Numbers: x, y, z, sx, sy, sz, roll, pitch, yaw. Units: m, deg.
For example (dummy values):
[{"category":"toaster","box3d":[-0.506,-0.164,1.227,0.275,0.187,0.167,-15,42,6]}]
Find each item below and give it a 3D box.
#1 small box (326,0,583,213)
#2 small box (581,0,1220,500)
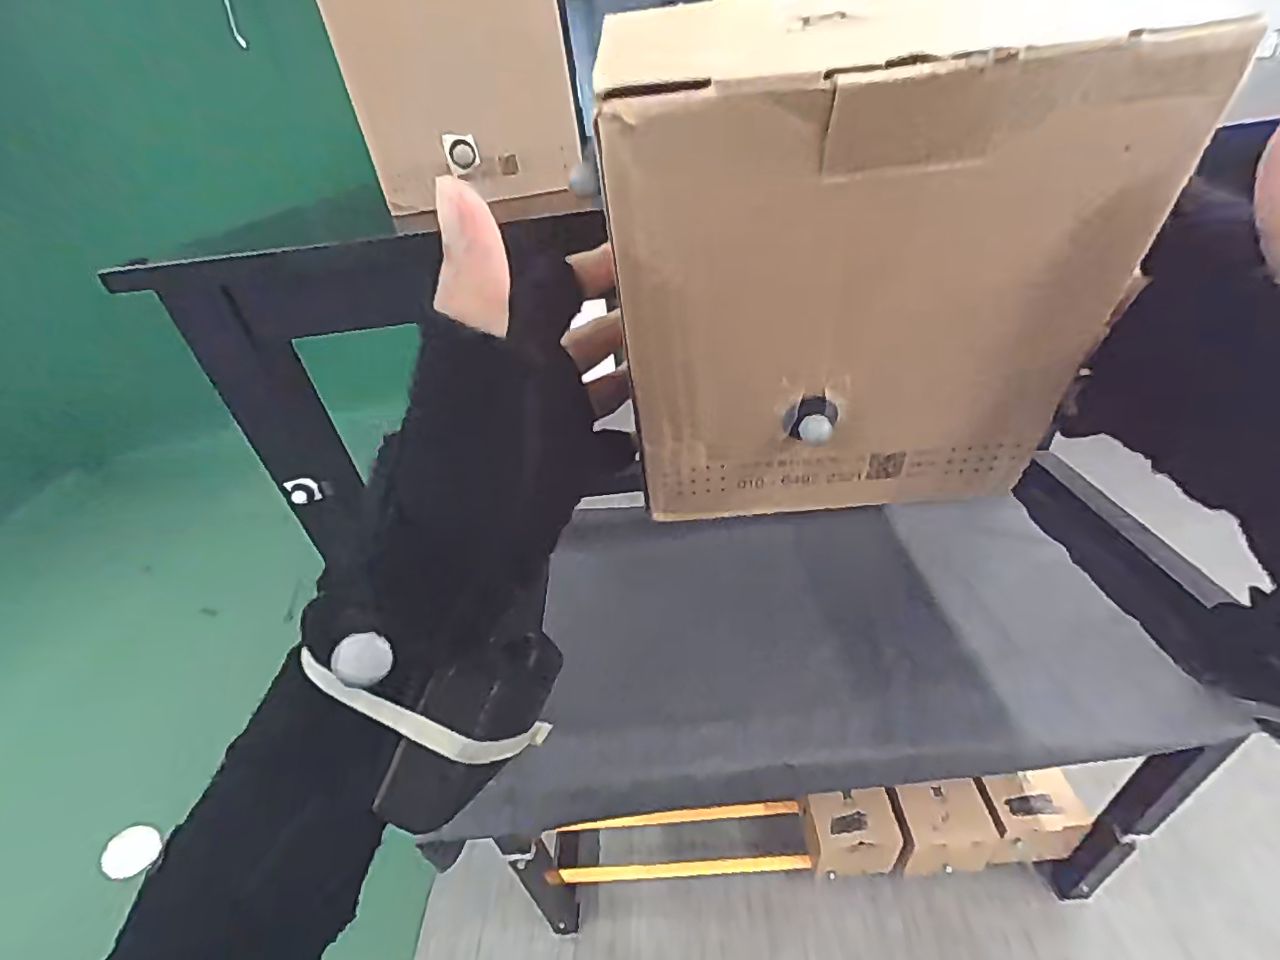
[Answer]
[{"category":"small box","box3d":[-0.154,-0.349,0.484,0.168,0.176,0.179,-14,36,-6]},{"category":"small box","box3d":[0.071,-0.113,0.255,0.168,0.176,0.179,-5,45,3]}]
